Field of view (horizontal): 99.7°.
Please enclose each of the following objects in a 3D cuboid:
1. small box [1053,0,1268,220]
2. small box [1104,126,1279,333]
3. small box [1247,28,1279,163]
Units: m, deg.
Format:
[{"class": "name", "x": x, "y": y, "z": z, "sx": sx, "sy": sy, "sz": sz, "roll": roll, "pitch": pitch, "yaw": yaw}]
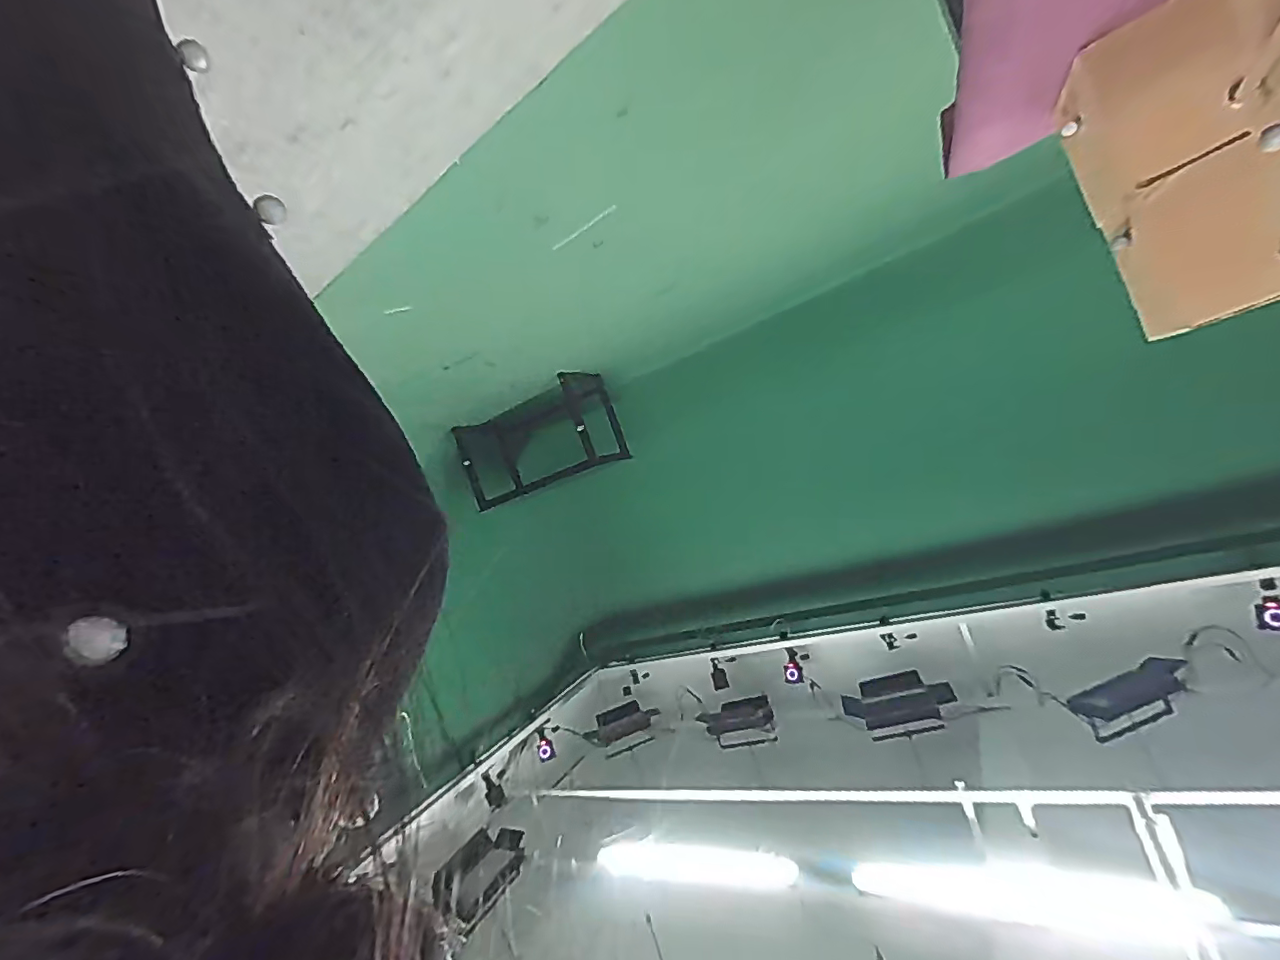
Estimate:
[{"class": "small box", "x": 0.613, "y": -0.437, "z": 0.610, "sx": 0.179, "sy": 0.176, "sz": 0.168, "roll": -21, "pitch": 177, "yaw": 30}, {"class": "small box", "x": 0.668, "y": -0.285, "z": 0.598, "sx": 0.179, "sy": 0.176, "sz": 0.168, "roll": -22, "pitch": 176, "yaw": 32}, {"class": "small box", "x": 0.479, "y": -0.224, "z": 0.273, "sx": 0.179, "sy": 0.176, "sz": 0.168, "roll": -22, "pitch": 177, "yaw": 40}]
